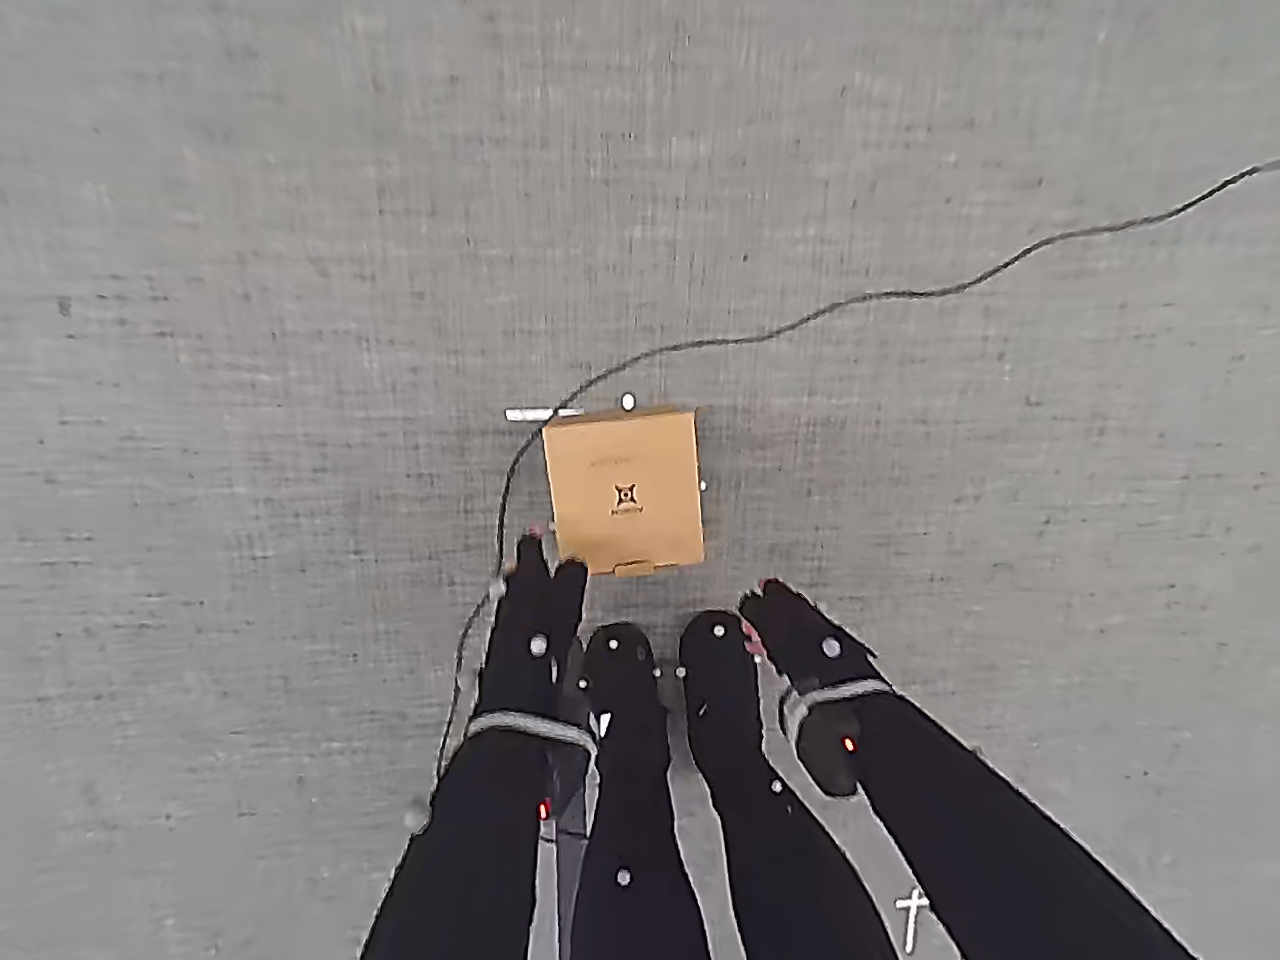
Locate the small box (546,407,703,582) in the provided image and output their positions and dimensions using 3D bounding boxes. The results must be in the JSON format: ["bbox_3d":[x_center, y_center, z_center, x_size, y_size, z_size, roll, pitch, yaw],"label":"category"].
[{"bbox_3d":[-0.019,0.008,0.675,0.168,0.176,0.179,-6,102,-3],"label":"small box"}]
